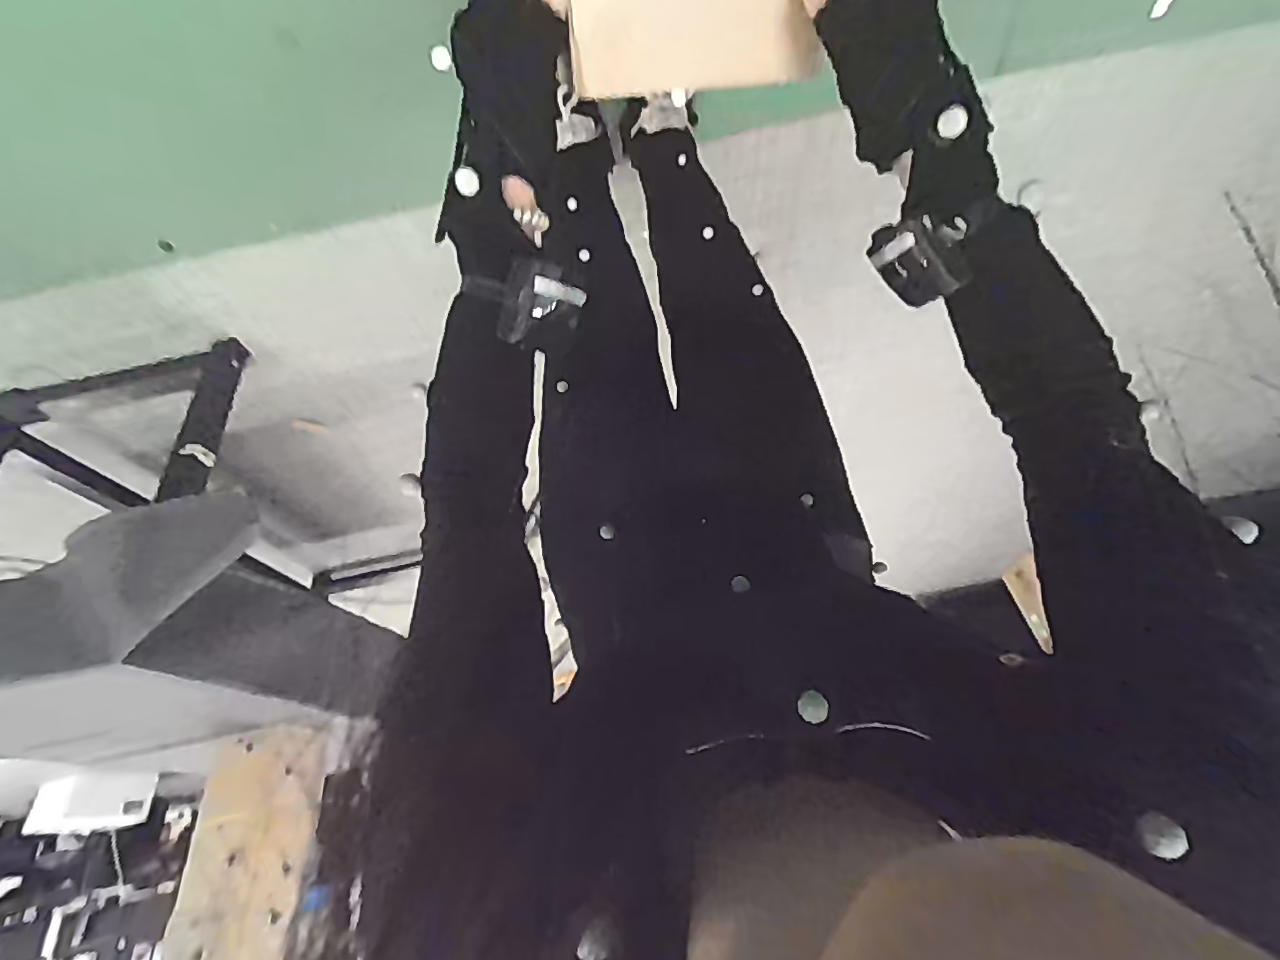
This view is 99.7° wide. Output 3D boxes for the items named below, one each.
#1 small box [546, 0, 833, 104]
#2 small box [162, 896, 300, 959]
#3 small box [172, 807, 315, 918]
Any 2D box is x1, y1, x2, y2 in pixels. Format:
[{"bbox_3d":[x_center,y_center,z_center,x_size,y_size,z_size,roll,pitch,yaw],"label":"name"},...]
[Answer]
[{"bbox_3d":[0.022,-0.371,0.369,0.179,0.176,0.168,-10,134,-7],"label":"small box"},{"bbox_3d":[-0.828,0.959,1.088,0.168,0.176,0.179,-11,146,1],"label":"small box"},{"bbox_3d":[-0.847,0.822,1.176,0.168,0.176,0.179,-12,147,3],"label":"small box"}]
